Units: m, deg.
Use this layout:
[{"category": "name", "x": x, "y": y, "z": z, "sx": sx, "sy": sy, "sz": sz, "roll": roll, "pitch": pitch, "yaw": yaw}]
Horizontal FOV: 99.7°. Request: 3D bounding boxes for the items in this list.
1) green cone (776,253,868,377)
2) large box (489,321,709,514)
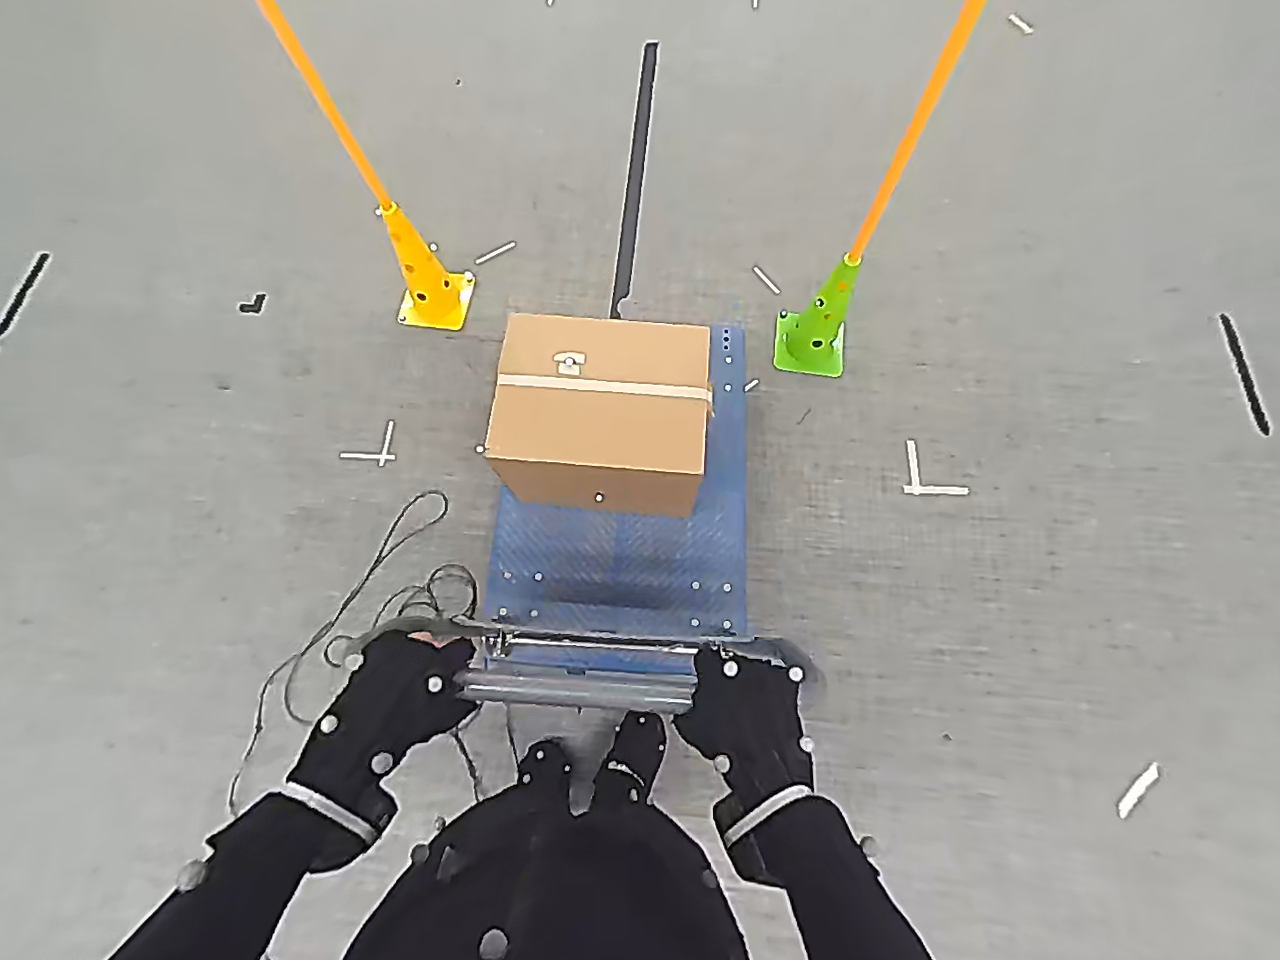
[{"category": "green cone", "x": 0.510, "y": -0.459, "z": 1.444, "sx": 0.202, "sy": 0.368, "sz": 0.200, "roll": 9, "pitch": 71, "yaw": 2}, {"category": "large box", "x": -0.066, "y": -0.118, "z": 1.176, "sx": 0.408, "sy": 0.320, "sz": 0.320, "roll": 5, "pitch": 71, "yaw": 3}]
